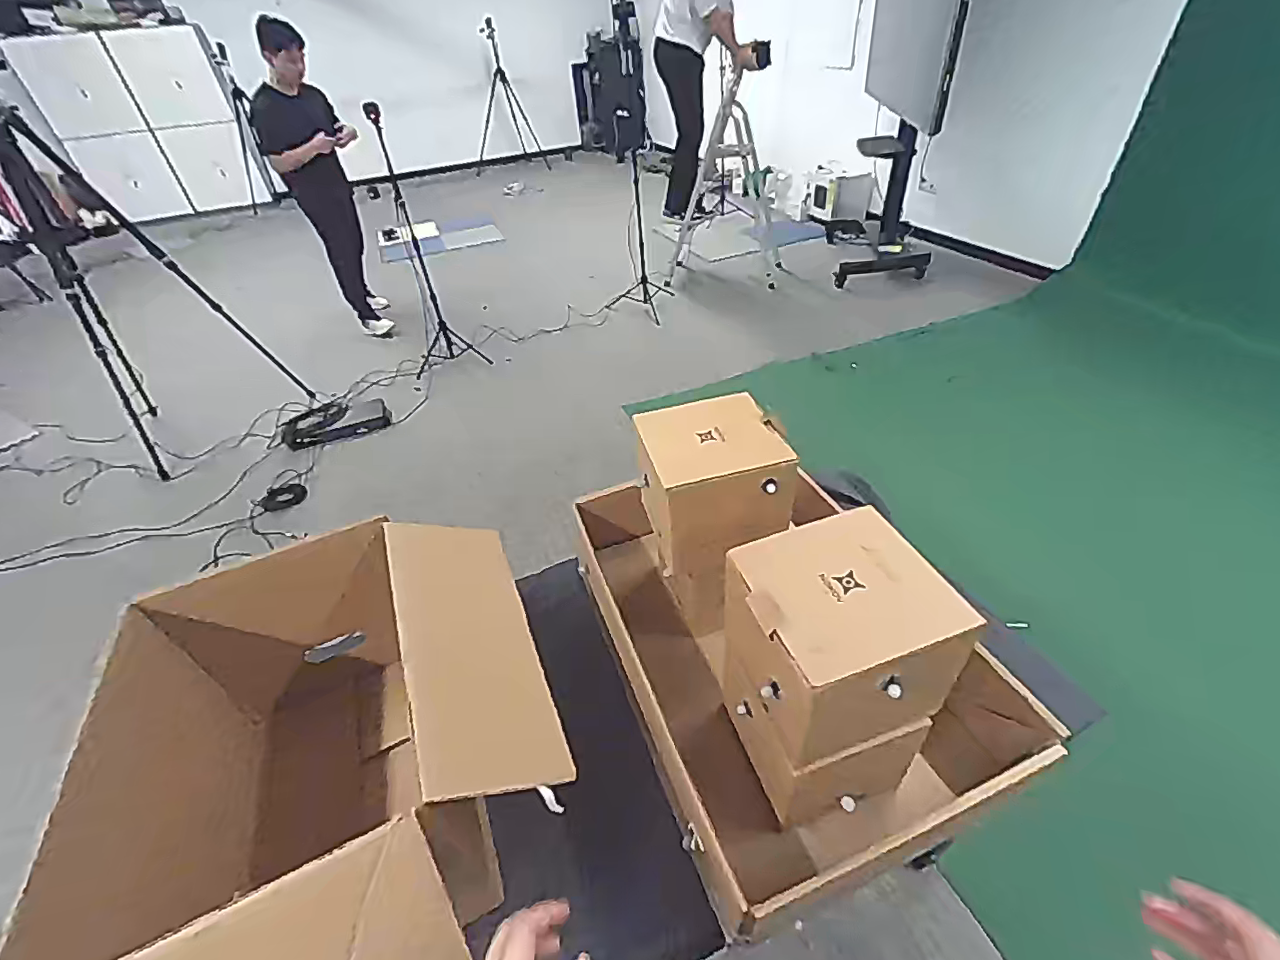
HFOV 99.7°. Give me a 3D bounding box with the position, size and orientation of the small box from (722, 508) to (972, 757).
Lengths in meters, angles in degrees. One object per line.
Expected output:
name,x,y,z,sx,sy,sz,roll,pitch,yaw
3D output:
small box,0.199,0.162,0.576,0.179,0.176,0.168,-15,43,-11

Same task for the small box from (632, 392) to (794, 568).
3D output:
small box,0.097,0.002,0.768,0.179,0.176,0.168,-12,43,-8
